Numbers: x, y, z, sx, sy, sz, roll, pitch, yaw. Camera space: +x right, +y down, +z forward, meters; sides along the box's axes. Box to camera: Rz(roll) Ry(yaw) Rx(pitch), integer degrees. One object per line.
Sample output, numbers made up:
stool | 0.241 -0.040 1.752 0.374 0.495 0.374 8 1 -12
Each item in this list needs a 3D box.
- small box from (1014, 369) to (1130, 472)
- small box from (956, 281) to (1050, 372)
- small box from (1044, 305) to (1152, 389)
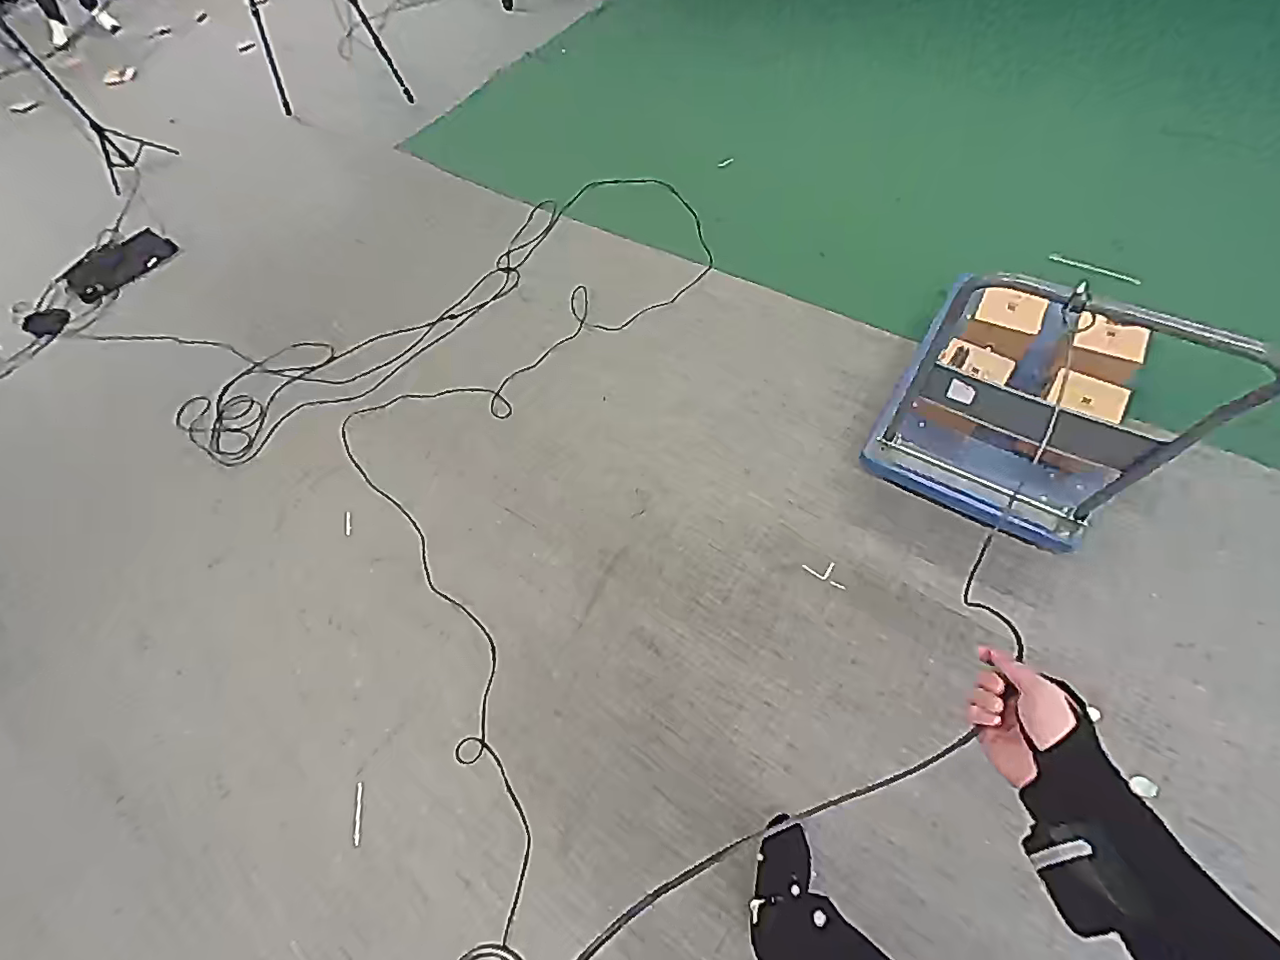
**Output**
small box | 1.148 -0.157 1.451 0.168 0.176 0.179 29 69 21
small box | 1.084 -0.457 1.629 0.168 0.176 0.179 25 67 19
small box | 1.300 -0.360 1.545 0.168 0.176 0.179 25 68 20
